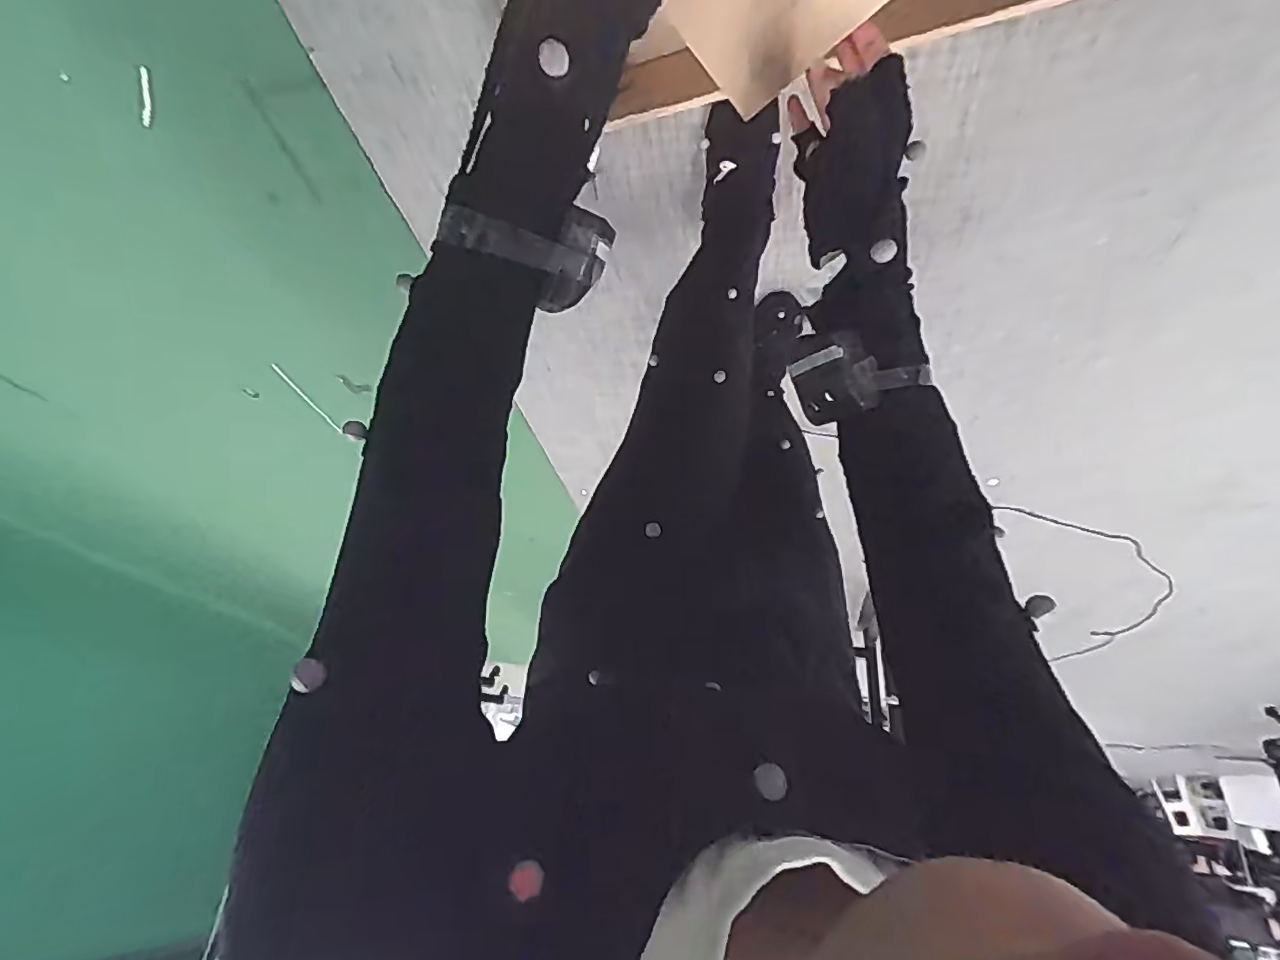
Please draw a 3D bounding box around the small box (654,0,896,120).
[{"bbox_3d":[0.086,-0.412,0.365,0.168,0.176,0.179,-22,148,40],"label":"small box"}]
